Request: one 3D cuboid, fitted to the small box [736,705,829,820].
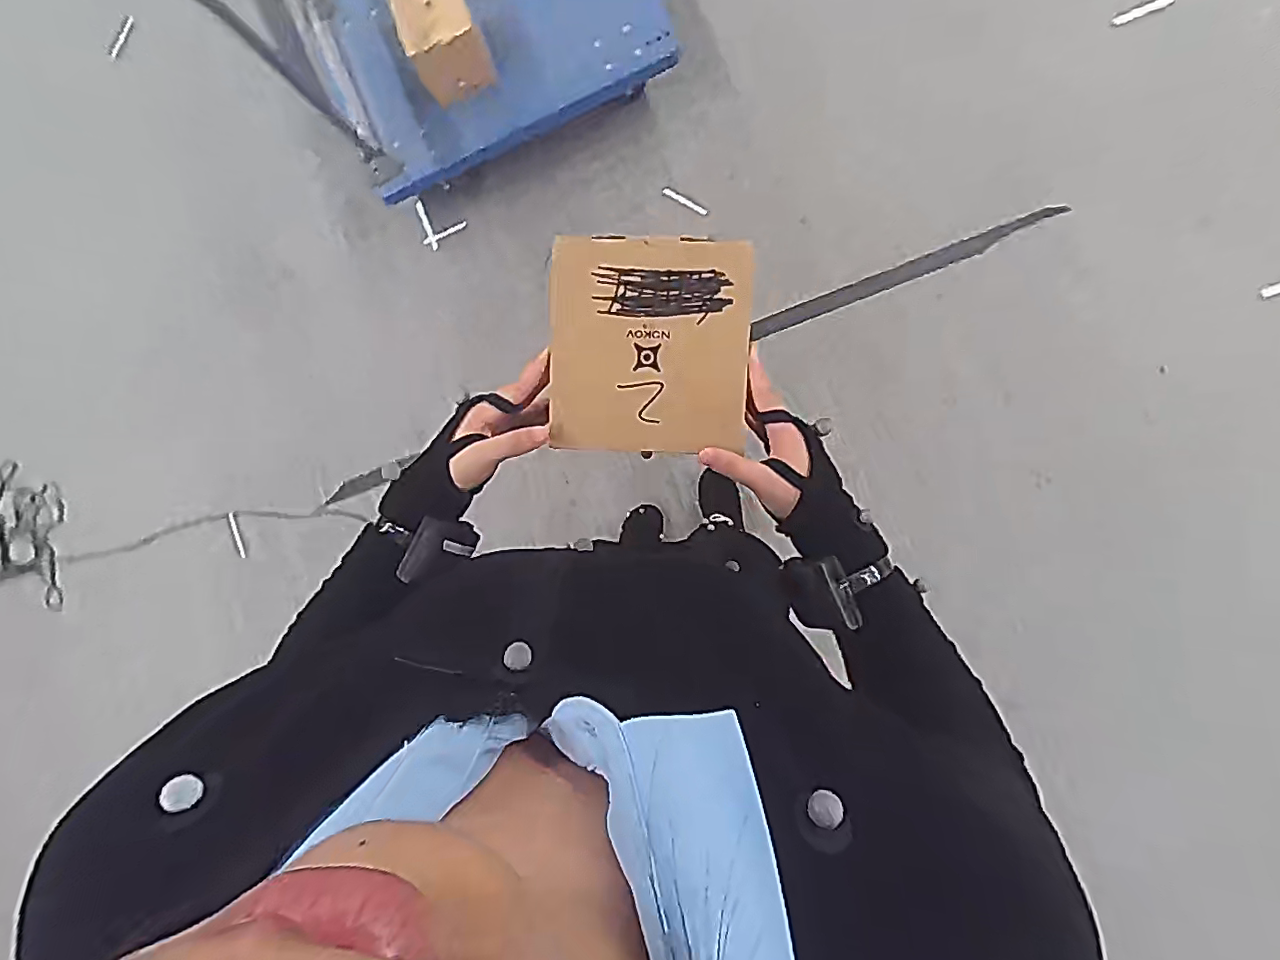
[{"bbox_3d":[0.352,0.705,1.367,0.168,0.176,0.179,-23,86,4],"label":"small box"}]

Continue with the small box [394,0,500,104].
[{"bbox_3d":[-0.463,-1.069,1.306,0.168,0.176,0.179,-19,87,5],"label":"small box"}]
